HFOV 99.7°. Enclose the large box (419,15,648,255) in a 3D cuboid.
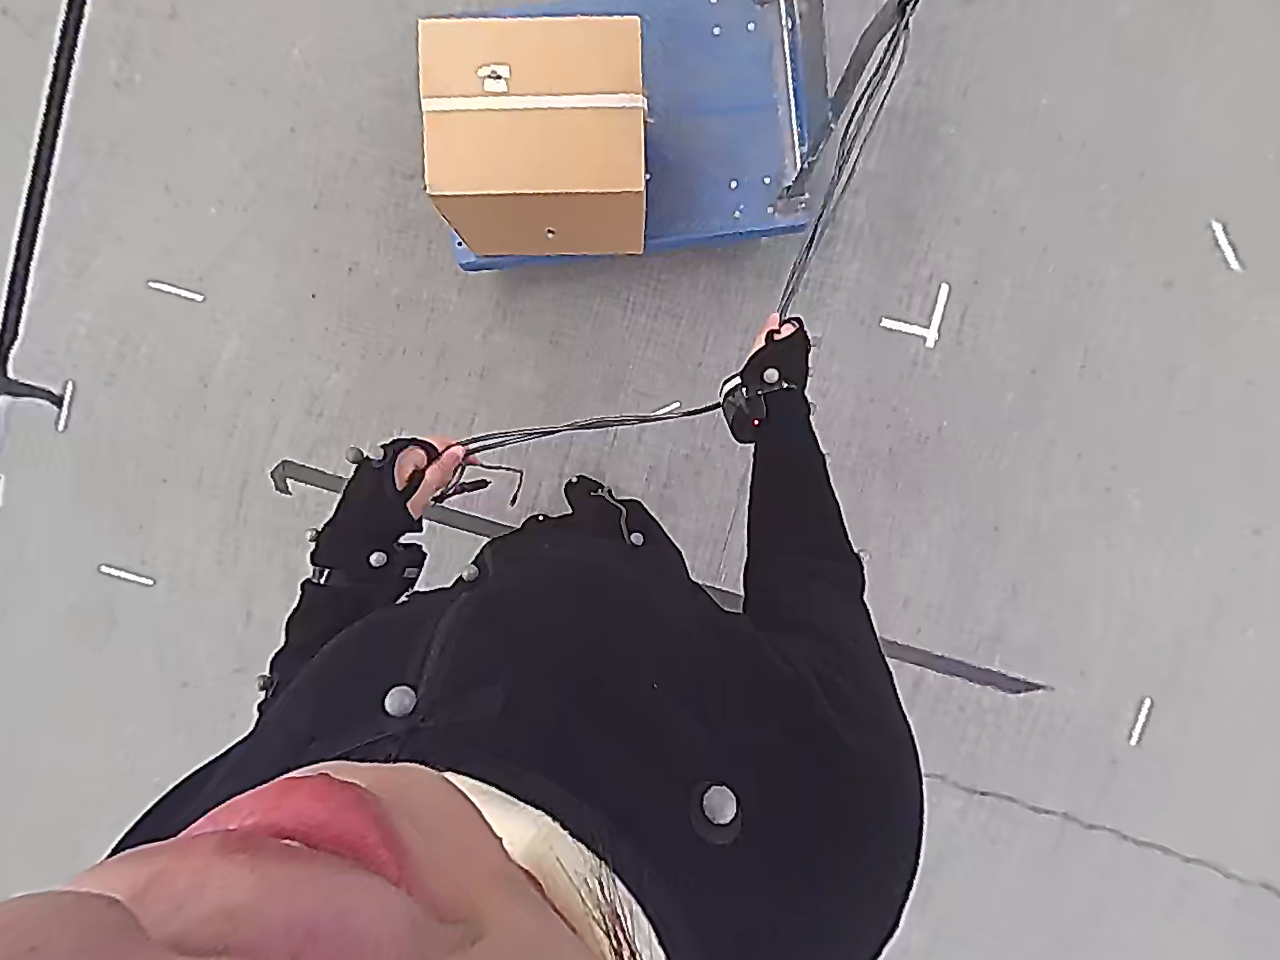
[{"bbox_3d":[-0.191,-0.680,1.123,0.408,0.320,0.320,-1,92,0],"label":"large box"}]
